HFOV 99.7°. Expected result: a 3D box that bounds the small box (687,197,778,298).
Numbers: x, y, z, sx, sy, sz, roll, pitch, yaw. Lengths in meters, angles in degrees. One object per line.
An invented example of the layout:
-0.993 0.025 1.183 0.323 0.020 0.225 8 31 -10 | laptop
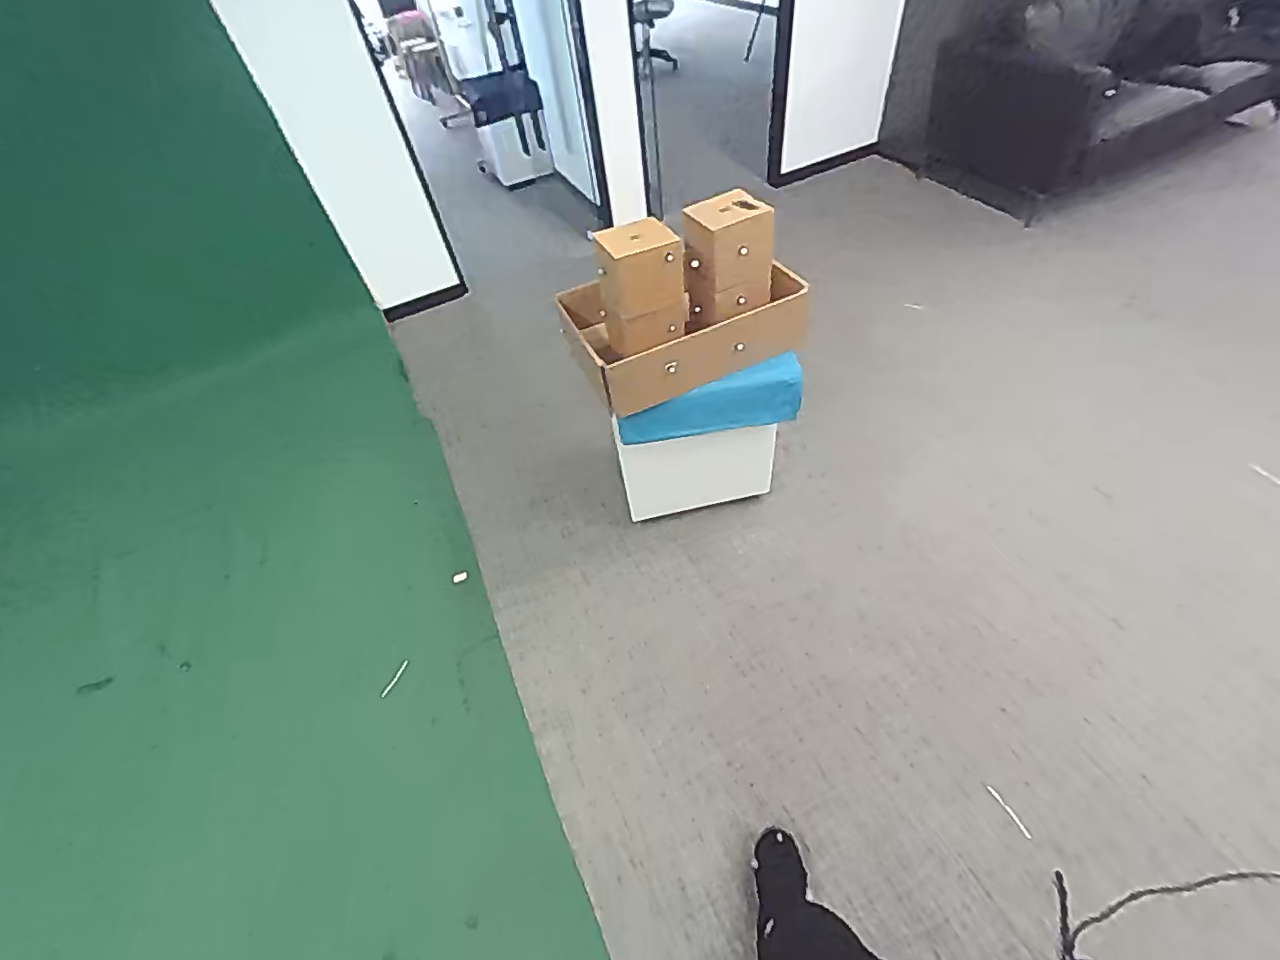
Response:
0.239 -0.609 1.420 0.179 0.176 0.168 -24 48 -10 | small box

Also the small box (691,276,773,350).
0.263 -0.498 1.539 0.179 0.176 0.168 -23 49 -10 | small box
